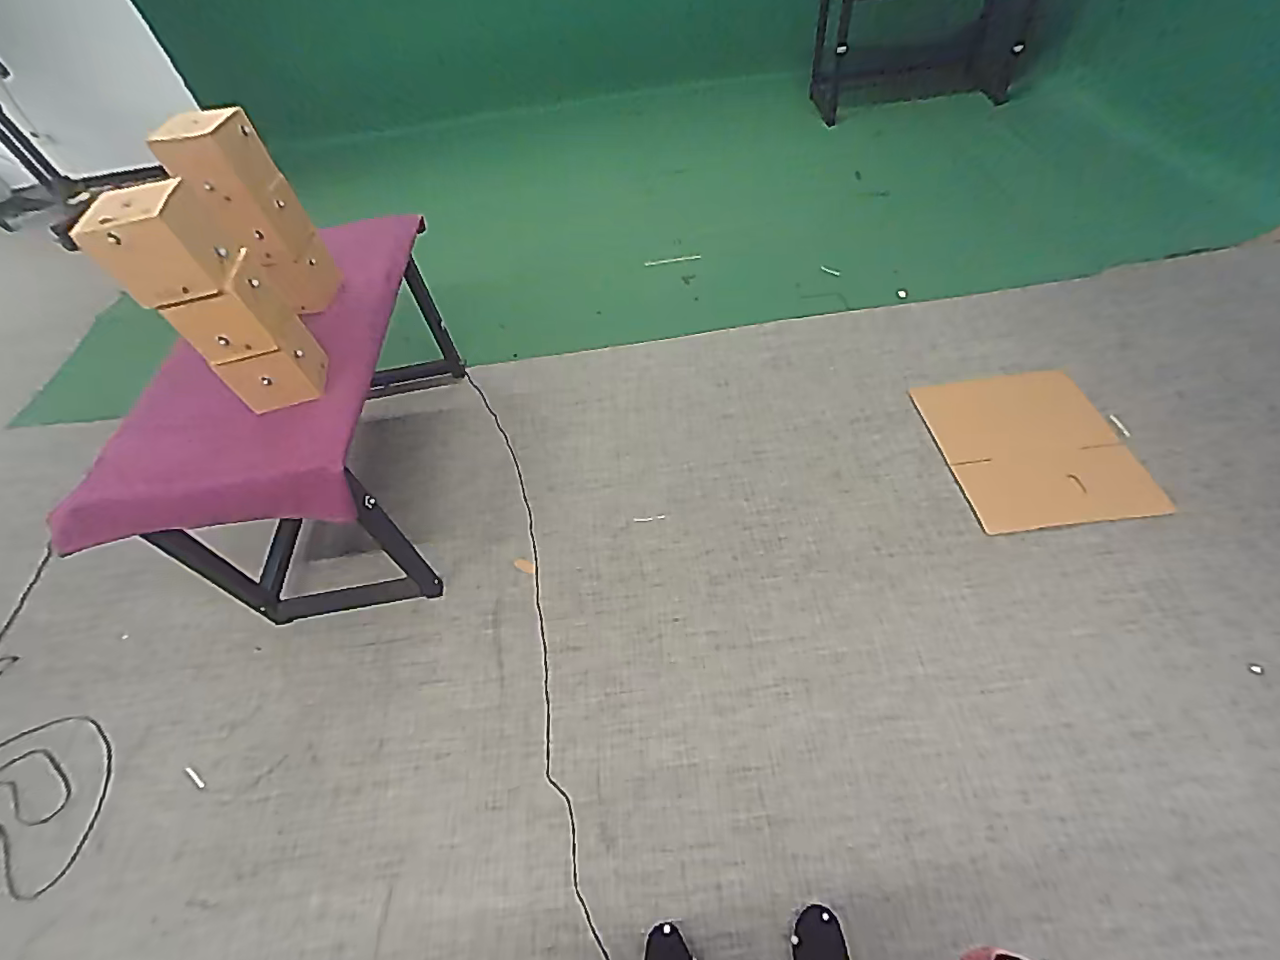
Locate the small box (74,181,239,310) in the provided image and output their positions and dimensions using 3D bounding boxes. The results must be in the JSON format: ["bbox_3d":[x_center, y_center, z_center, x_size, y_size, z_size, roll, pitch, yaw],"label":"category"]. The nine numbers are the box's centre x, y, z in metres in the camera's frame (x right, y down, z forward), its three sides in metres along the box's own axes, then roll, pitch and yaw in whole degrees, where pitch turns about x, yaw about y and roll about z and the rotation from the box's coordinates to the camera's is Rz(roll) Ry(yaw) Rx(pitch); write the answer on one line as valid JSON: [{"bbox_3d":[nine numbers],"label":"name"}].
[{"bbox_3d":[-0.979,-0.482,1.119,0.168,0.176,0.179,-14,52,-2],"label":"small box"}]

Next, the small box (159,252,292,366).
[{"bbox_3d":[-0.947,-0.395,1.254,0.168,0.176,0.179,-15,53,-3],"label":"small box"}]

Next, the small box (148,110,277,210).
[{"bbox_3d":[-1.079,-0.817,1.388,0.168,0.176,0.179,-4,53,4],"label":"small box"}]

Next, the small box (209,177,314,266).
[{"bbox_3d":[-1.059,-0.719,1.518,0.168,0.176,0.179,-3,52,4],"label":"small box"}]

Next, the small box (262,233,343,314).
[{"bbox_3d":[-1.045,-0.622,1.648,0.168,0.176,0.179,-3,52,5],"label":"small box"}]
